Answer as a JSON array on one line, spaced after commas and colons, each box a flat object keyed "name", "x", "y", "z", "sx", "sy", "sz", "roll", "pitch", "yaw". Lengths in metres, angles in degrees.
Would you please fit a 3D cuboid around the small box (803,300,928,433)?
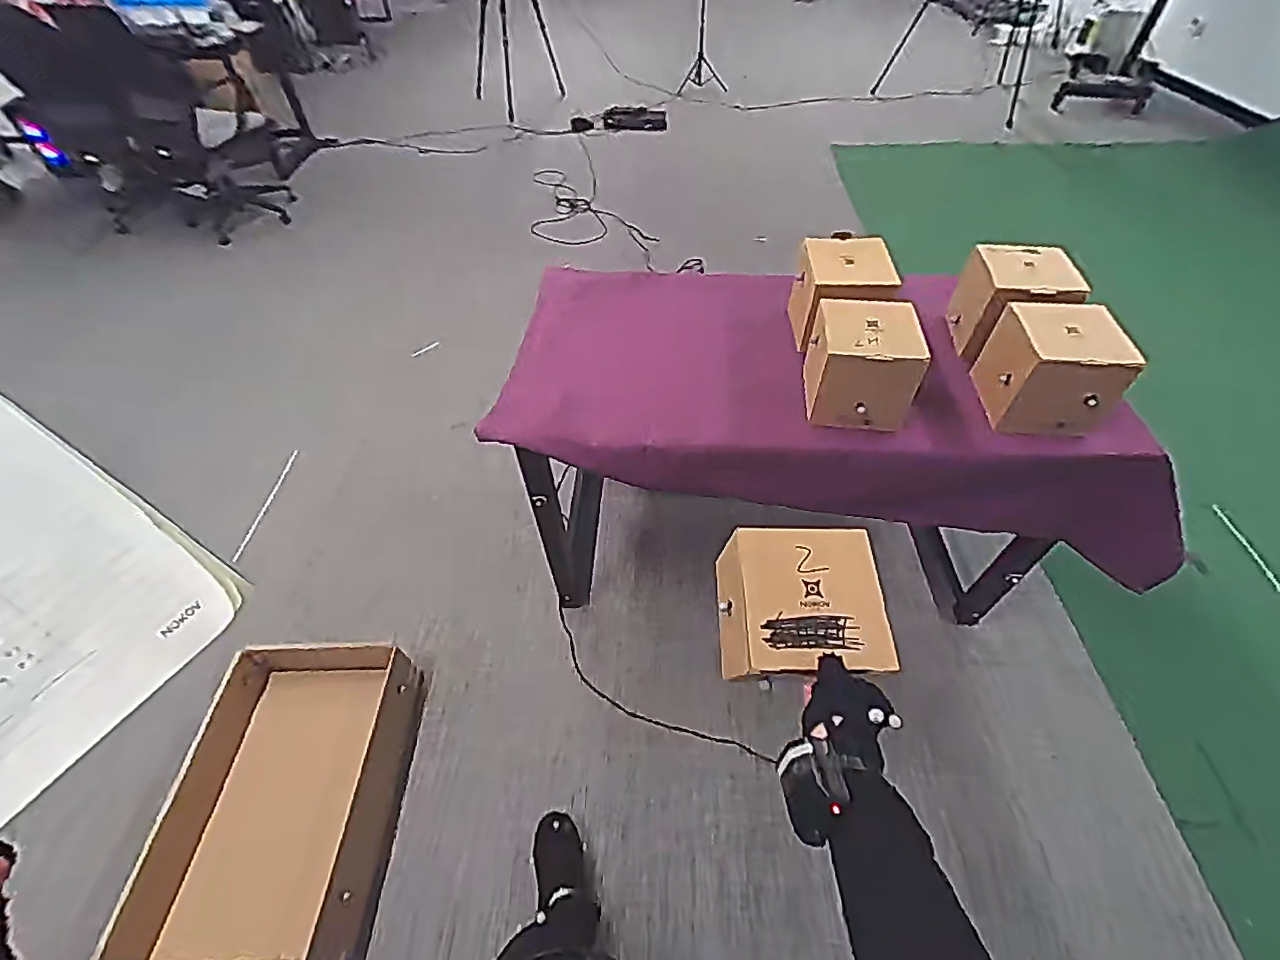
[{"name": "small box", "x": 0.407, "y": -0.213, "z": 1.011, "sx": 0.168, "sy": 0.176, "sz": 0.179, "roll": 5, "pitch": 50, "yaw": 6}]

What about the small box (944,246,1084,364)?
[{"name": "small box", "x": 0.761, "y": -0.361, "z": 1.124, "sx": 0.168, "sy": 0.176, "sz": 0.179, "roll": 6, "pitch": 51, "yaw": 7}]

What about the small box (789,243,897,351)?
[{"name": "small box", "x": 0.424, "y": -0.386, "z": 1.160, "sx": 0.168, "sy": 0.176, "sz": 0.179, "roll": 1, "pitch": 50, "yaw": 3}]
